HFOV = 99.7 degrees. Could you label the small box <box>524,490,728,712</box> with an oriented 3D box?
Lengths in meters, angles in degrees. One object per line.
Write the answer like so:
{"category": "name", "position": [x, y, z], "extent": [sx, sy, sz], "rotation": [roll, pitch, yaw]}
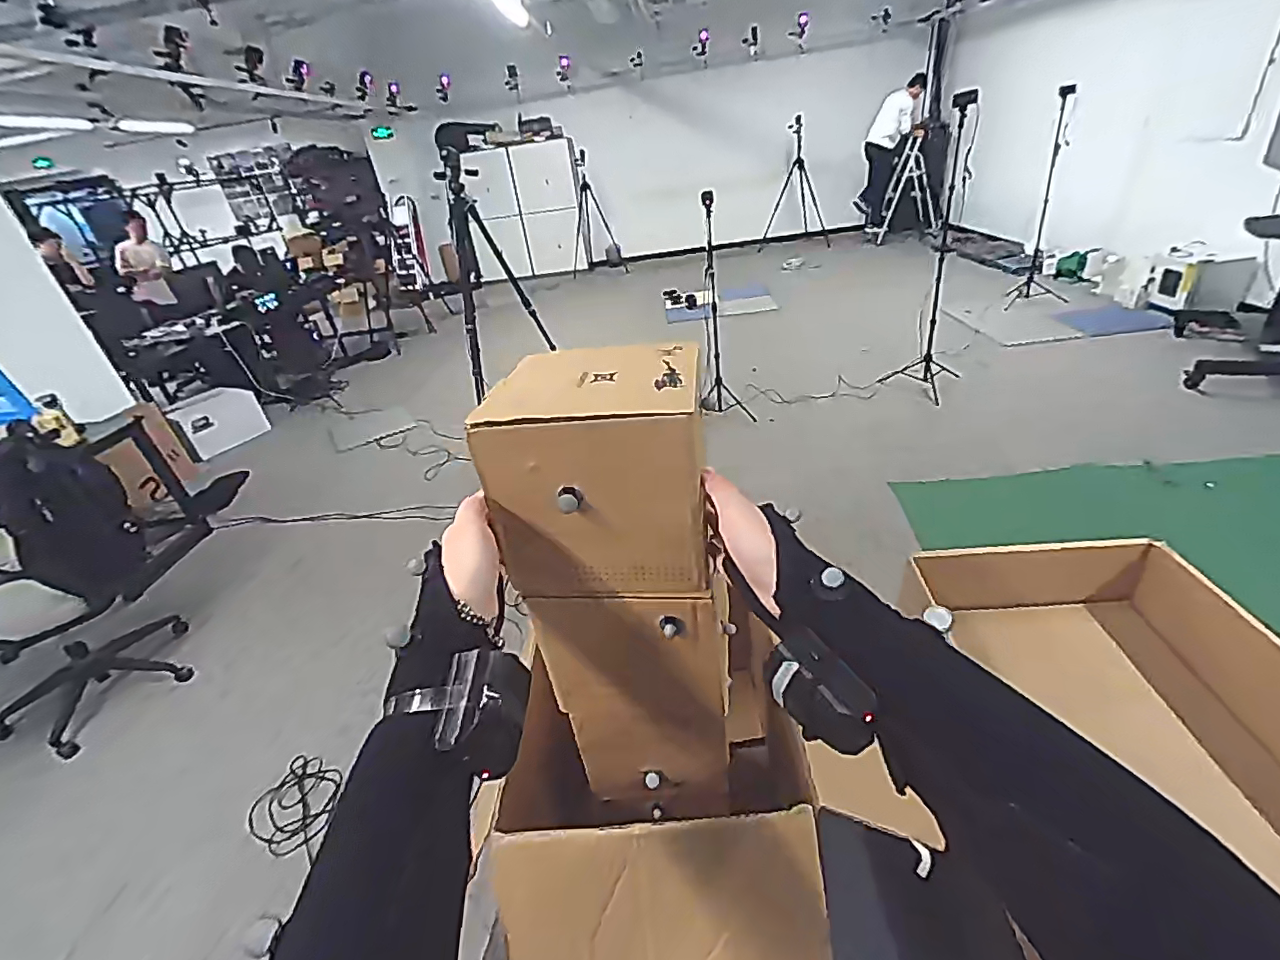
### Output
{"category": "small box", "position": [0.001, 0.126, 0.578], "extent": [0.179, 0.176, 0.168], "rotation": [-2, 33, 10]}

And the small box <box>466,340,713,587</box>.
{"category": "small box", "position": [-0.027, -0.015, 0.498], "extent": [0.179, 0.176, 0.168], "rotation": [-3, 32, 9]}
